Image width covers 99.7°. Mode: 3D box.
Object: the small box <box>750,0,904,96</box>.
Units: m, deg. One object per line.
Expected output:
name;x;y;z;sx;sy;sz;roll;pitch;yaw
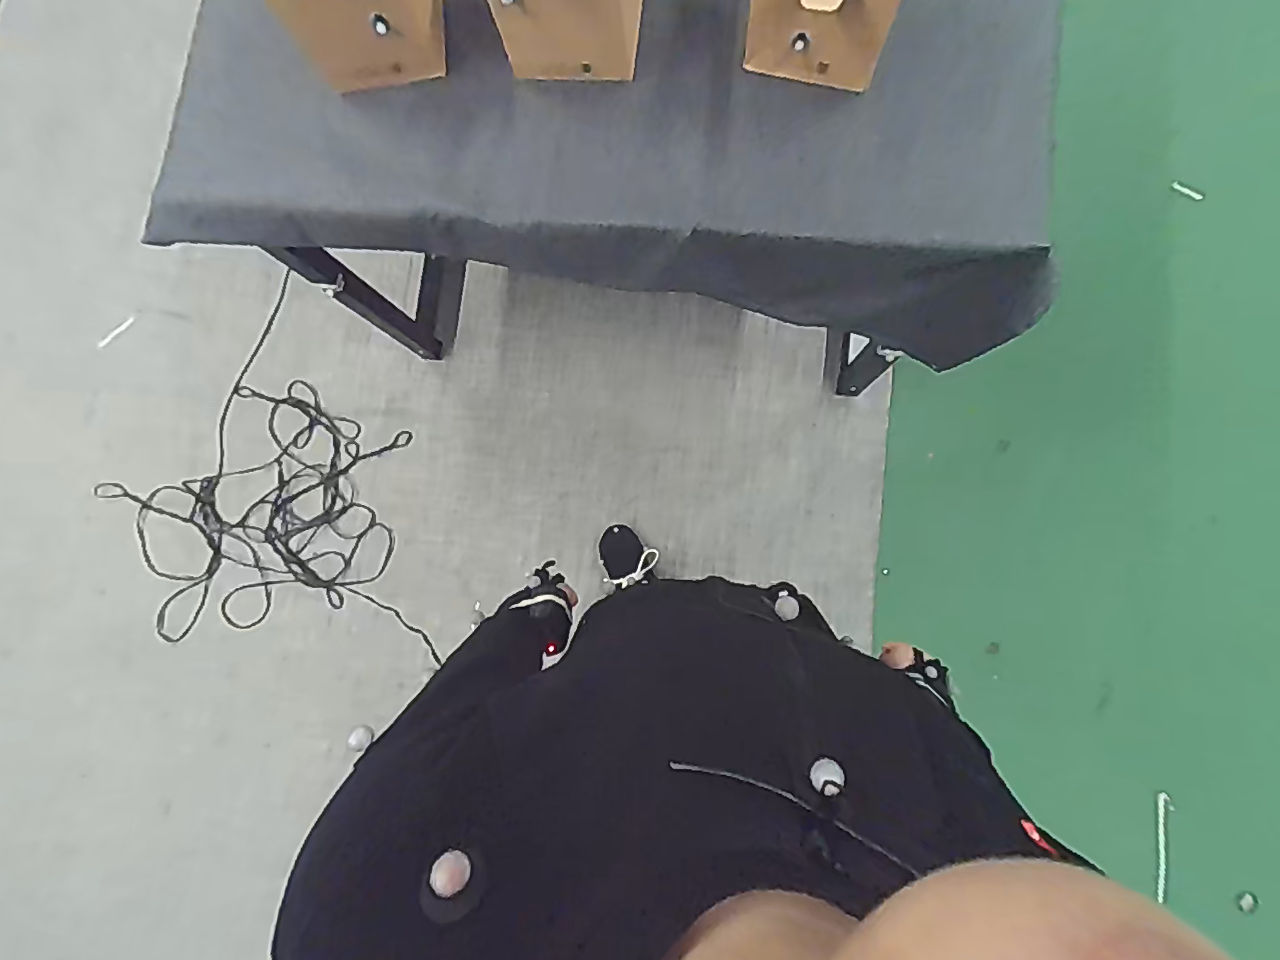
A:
small box;0.236;-0.614;0.644;0.168;0.176;0.179;17;85;7

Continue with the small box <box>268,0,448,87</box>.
small box;-0.362;-0.652;0.705;0.168;0.176;0.179;-5;81;3
